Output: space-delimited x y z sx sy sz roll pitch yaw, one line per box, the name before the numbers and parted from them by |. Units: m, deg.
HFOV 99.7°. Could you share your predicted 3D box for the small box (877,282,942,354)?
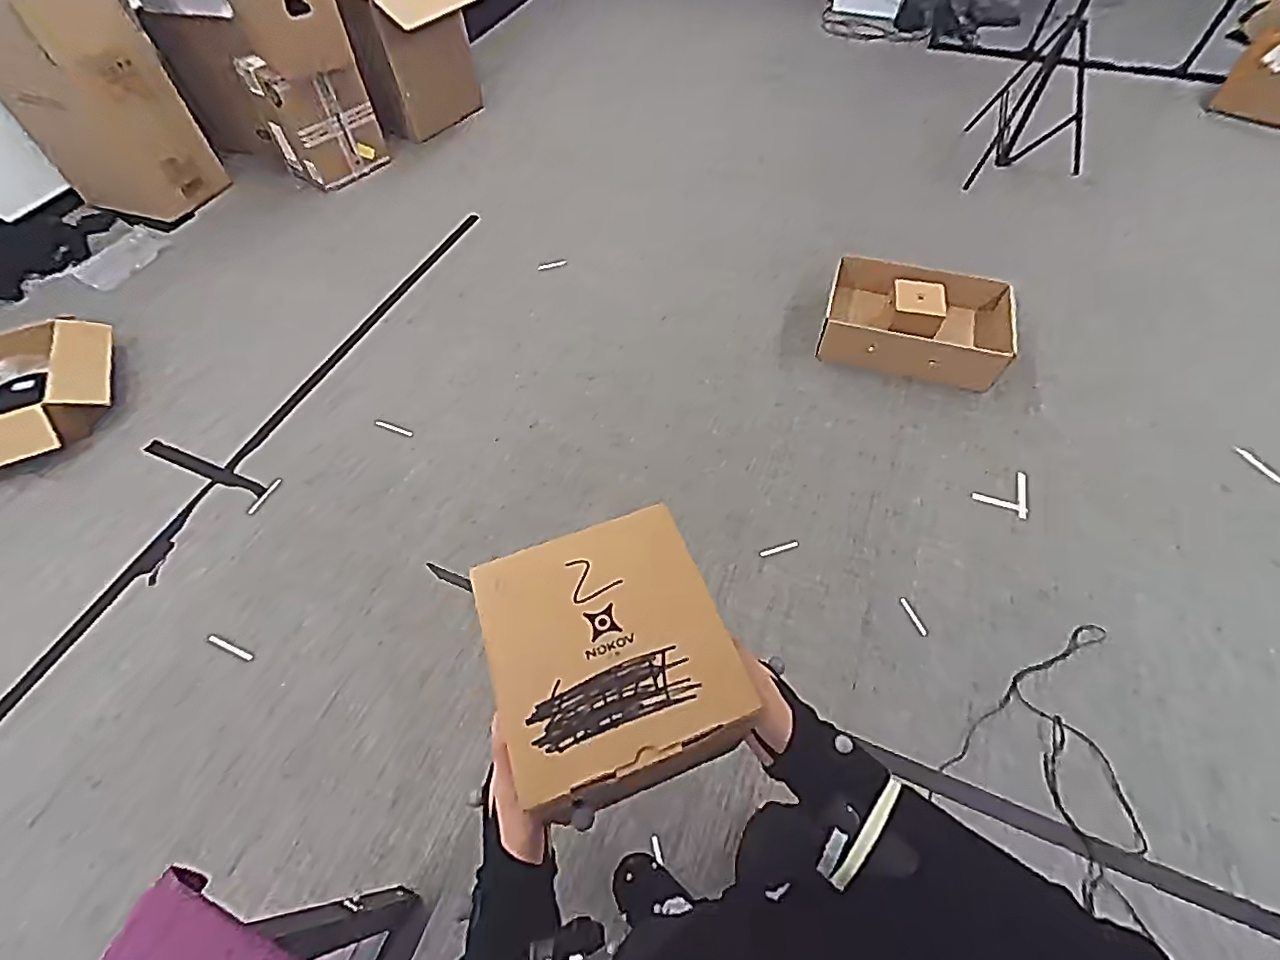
small box | 0.972 -0.587 1.960 0.168 0.176 0.179 10 58 9
